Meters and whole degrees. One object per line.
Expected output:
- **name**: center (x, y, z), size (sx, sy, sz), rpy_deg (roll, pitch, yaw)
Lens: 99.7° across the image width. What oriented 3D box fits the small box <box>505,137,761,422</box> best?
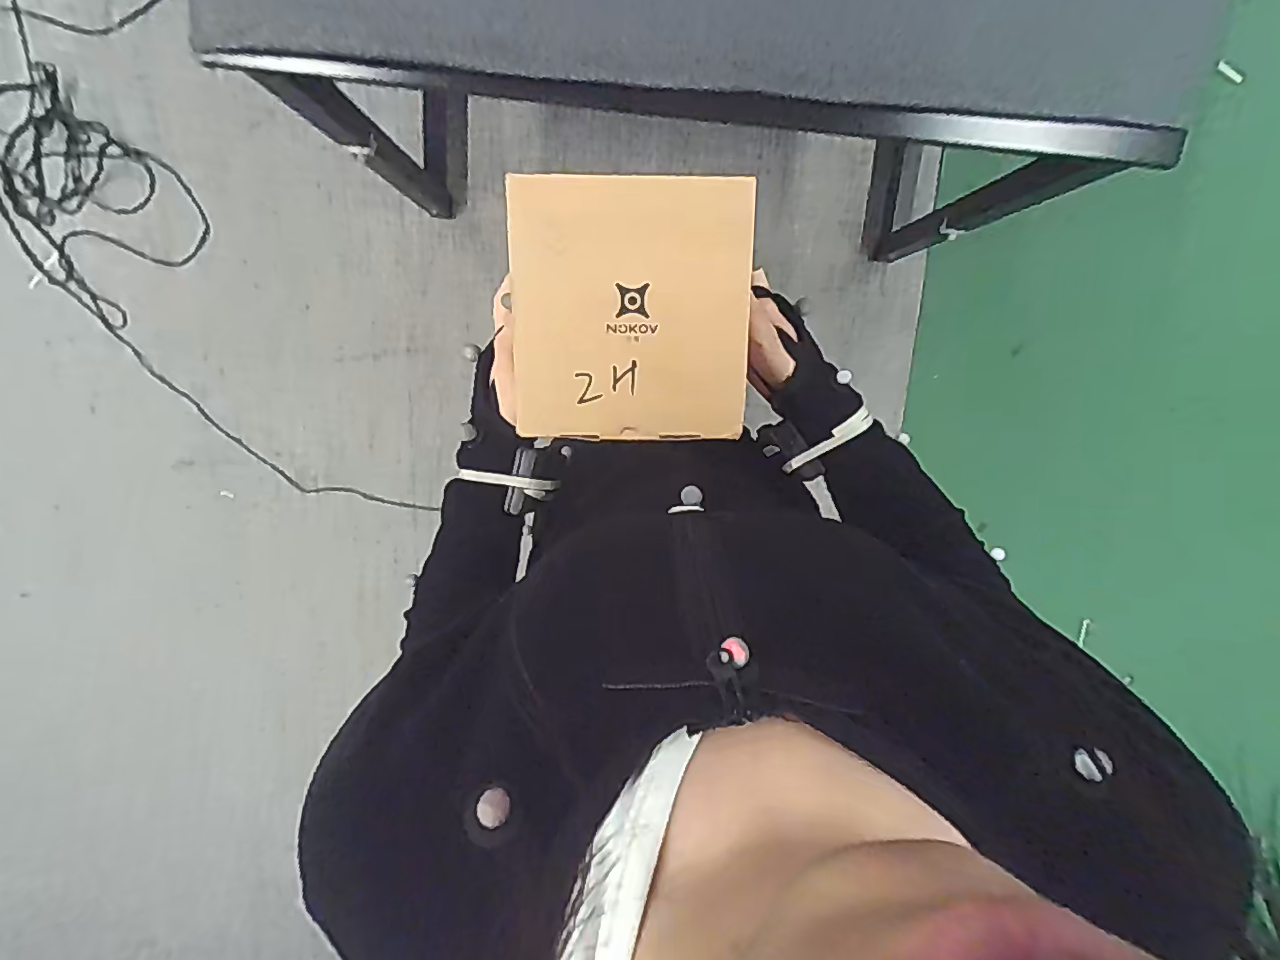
- **small box**: center (-0.009, -0.142, 0.433), size (0.168, 0.176, 0.179), rpy_deg (1, 102, -1)
